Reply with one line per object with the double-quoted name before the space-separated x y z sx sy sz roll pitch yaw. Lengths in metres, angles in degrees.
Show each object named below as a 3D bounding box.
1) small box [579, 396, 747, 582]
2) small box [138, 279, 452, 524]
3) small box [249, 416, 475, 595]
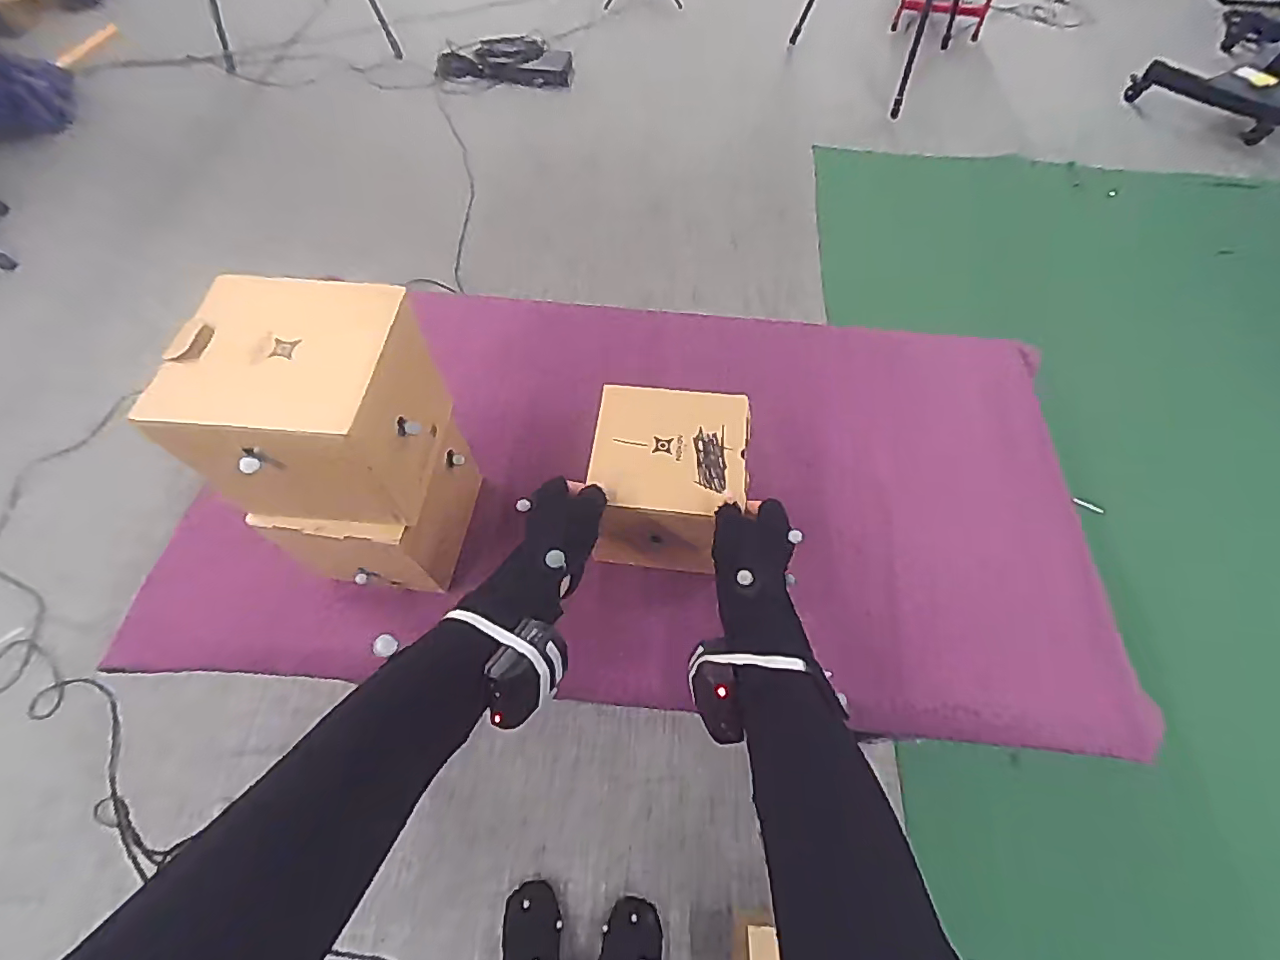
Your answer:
"small box" 0.030 0.019 0.680 0.179 0.176 0.168 7 60 4
"small box" -0.302 -0.066 0.527 0.179 0.176 0.168 5 61 0
"small box" -0.315 0.023 0.663 0.168 0.176 0.179 8 61 2
